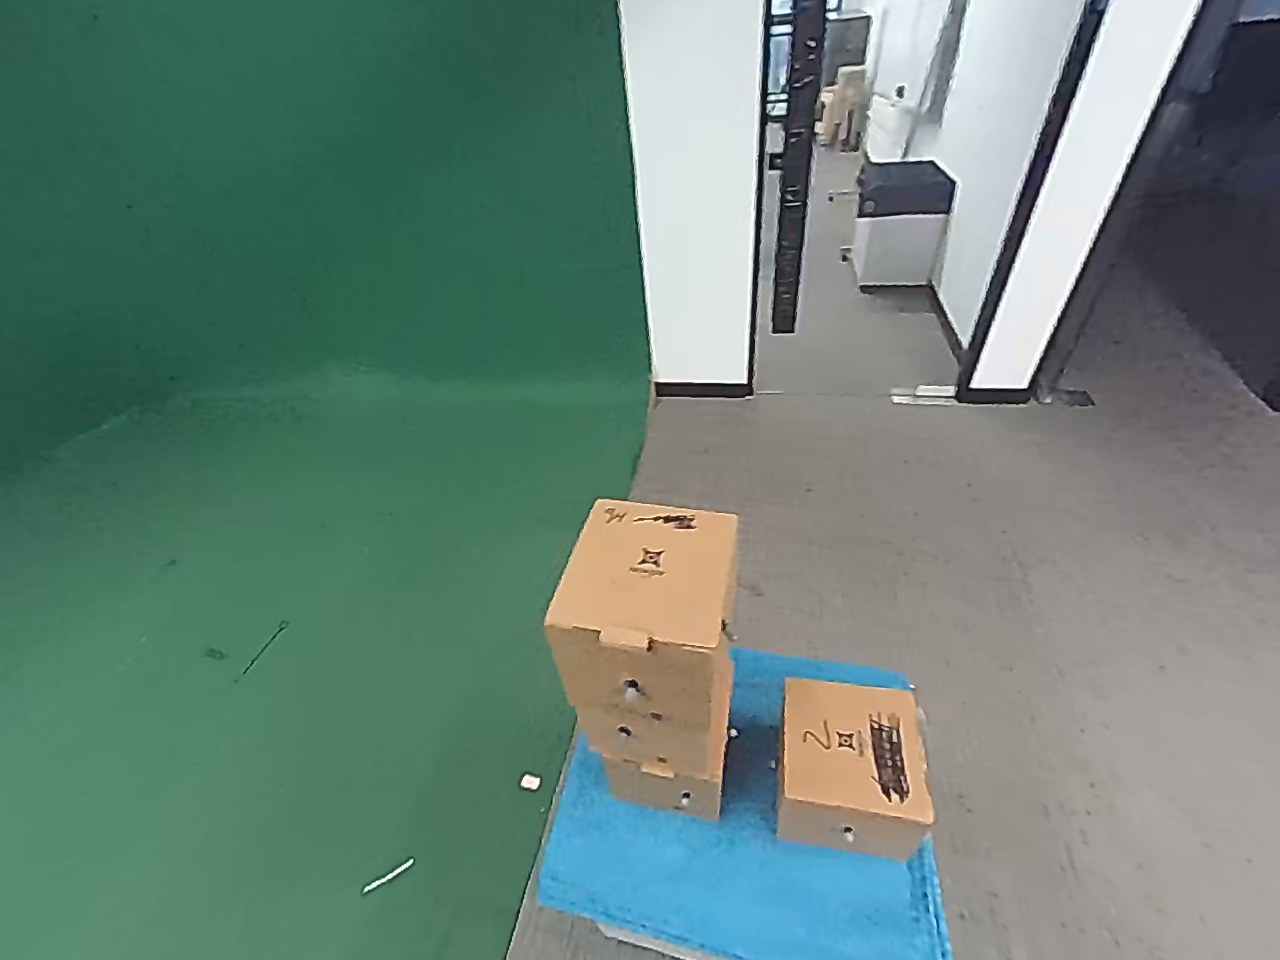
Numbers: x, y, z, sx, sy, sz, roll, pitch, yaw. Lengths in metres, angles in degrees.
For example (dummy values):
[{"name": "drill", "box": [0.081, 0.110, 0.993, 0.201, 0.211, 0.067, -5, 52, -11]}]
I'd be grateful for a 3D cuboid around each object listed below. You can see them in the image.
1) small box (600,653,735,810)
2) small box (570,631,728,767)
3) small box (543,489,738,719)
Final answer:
[{"name": "small box", "box": [0.051, 0.371, 0.824, 0.168, 0.176, 0.179, 6, 43, 13]}, {"name": "small box", "box": [0.025, 0.251, 0.719, 0.168, 0.176, 0.179, 7, 42, 14]}, {"name": "small box", "box": [0.014, 0.137, 0.601, 0.168, 0.176, 0.179, 7, 43, 14]}]
